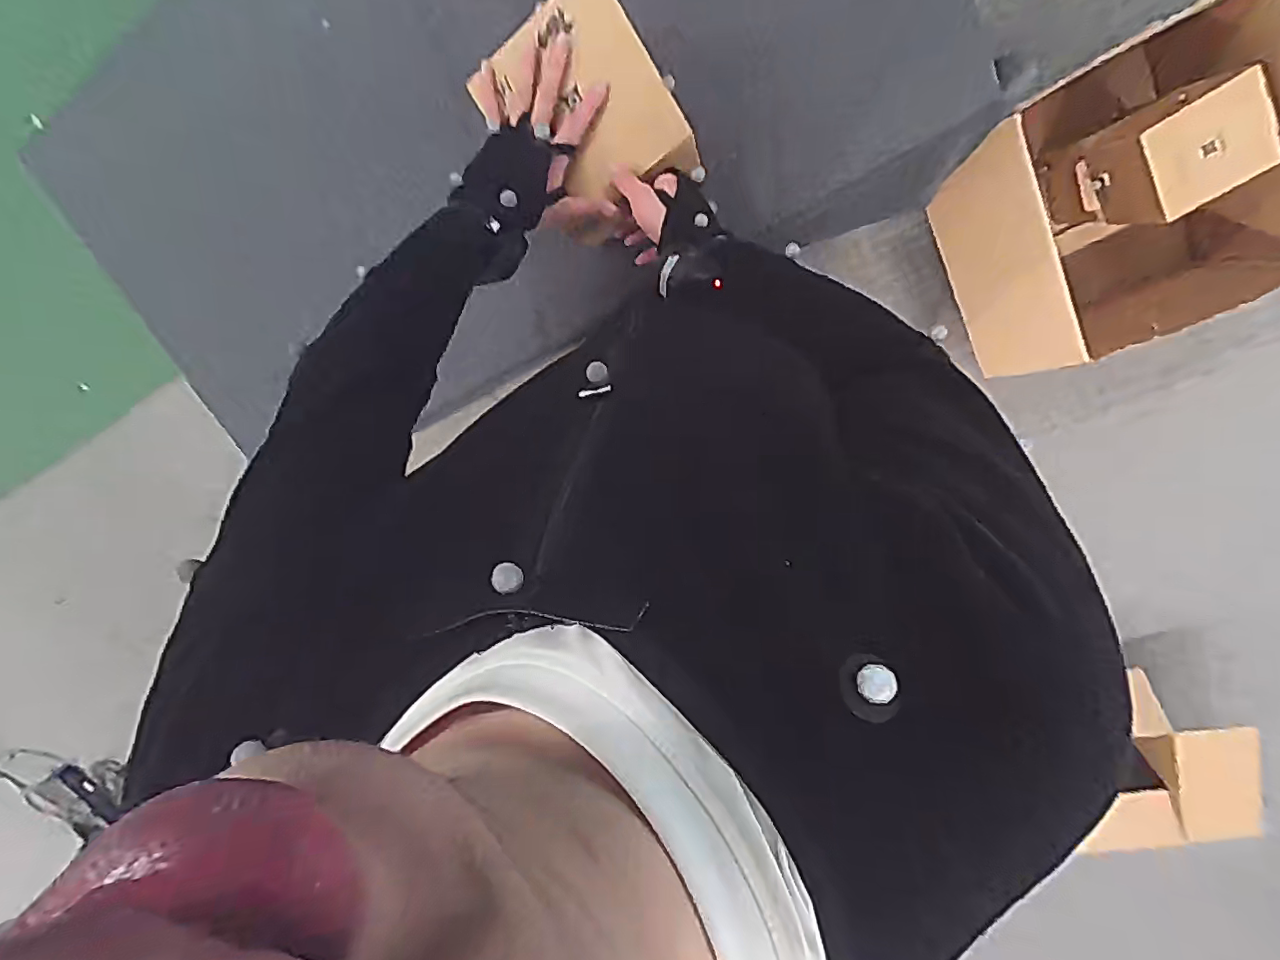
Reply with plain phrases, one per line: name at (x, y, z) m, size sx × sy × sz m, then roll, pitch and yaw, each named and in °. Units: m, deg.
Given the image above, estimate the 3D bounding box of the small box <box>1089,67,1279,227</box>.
small box at (0.964, -0.576, 0.961) m, size 0.179 × 0.176 × 0.168 m, roll -30°, pitch 106°, yaw 20°

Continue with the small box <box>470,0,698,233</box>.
small box at (-0.046, -0.402, 0.606) m, size 0.168 × 0.176 × 0.179 m, roll -30°, pitch 105°, yaw 18°
